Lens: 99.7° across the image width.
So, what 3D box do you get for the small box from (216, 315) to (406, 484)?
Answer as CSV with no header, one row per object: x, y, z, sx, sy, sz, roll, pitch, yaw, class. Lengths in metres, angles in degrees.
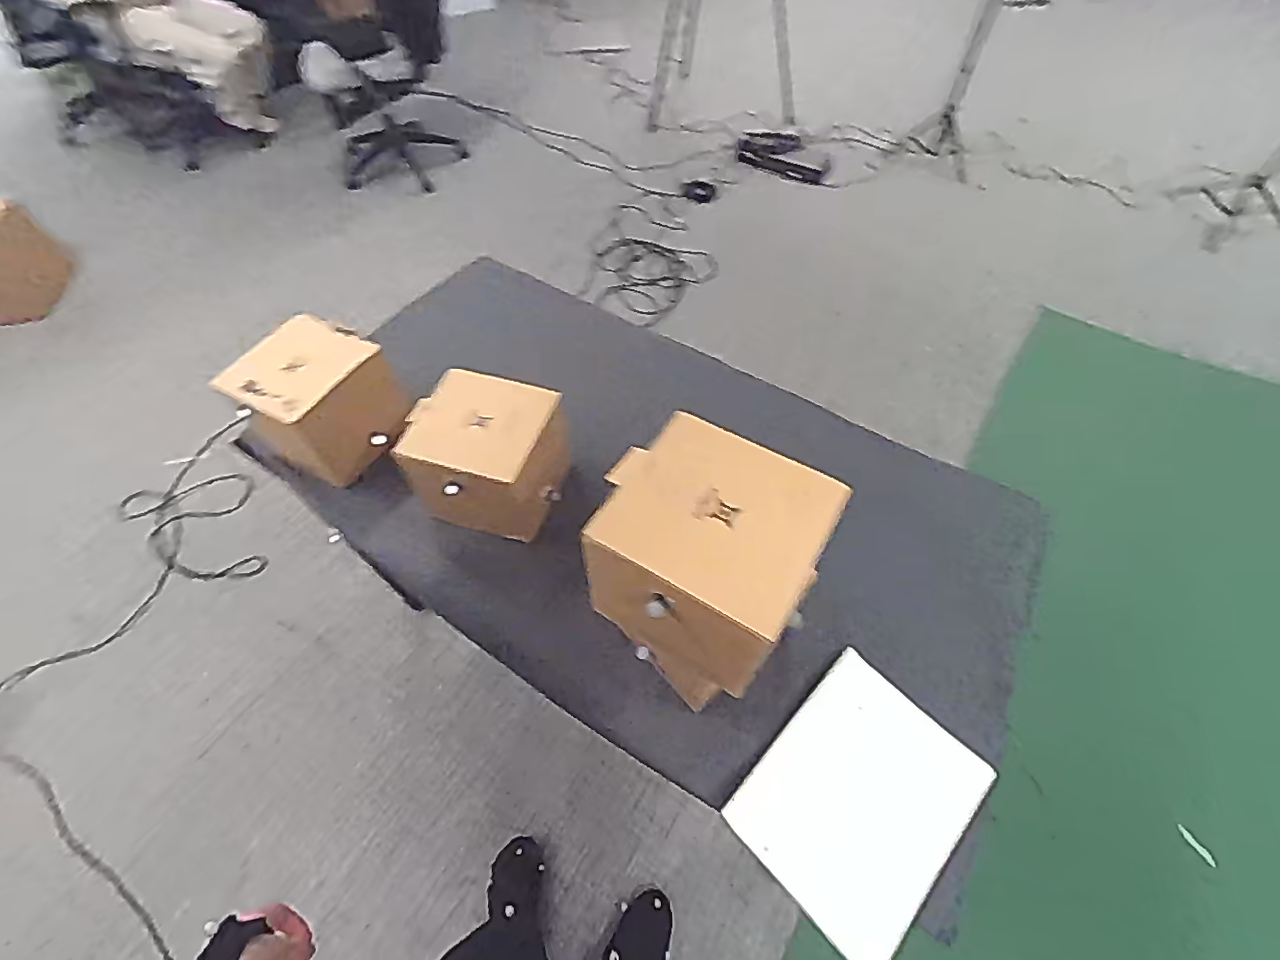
-0.509,-0.128,0.872,0.168,0.176,0.179,23,59,15,small box

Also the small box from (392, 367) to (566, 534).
-0.225,-0.039,0.811,0.179,0.176,0.168,14,57,9,small box

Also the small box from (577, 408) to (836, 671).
0.061,0.066,0.536,0.179,0.176,0.168,27,59,18,small box

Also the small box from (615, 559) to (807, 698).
0.075,0.140,0.682,0.179,0.176,0.168,-36,62,-21,small box
